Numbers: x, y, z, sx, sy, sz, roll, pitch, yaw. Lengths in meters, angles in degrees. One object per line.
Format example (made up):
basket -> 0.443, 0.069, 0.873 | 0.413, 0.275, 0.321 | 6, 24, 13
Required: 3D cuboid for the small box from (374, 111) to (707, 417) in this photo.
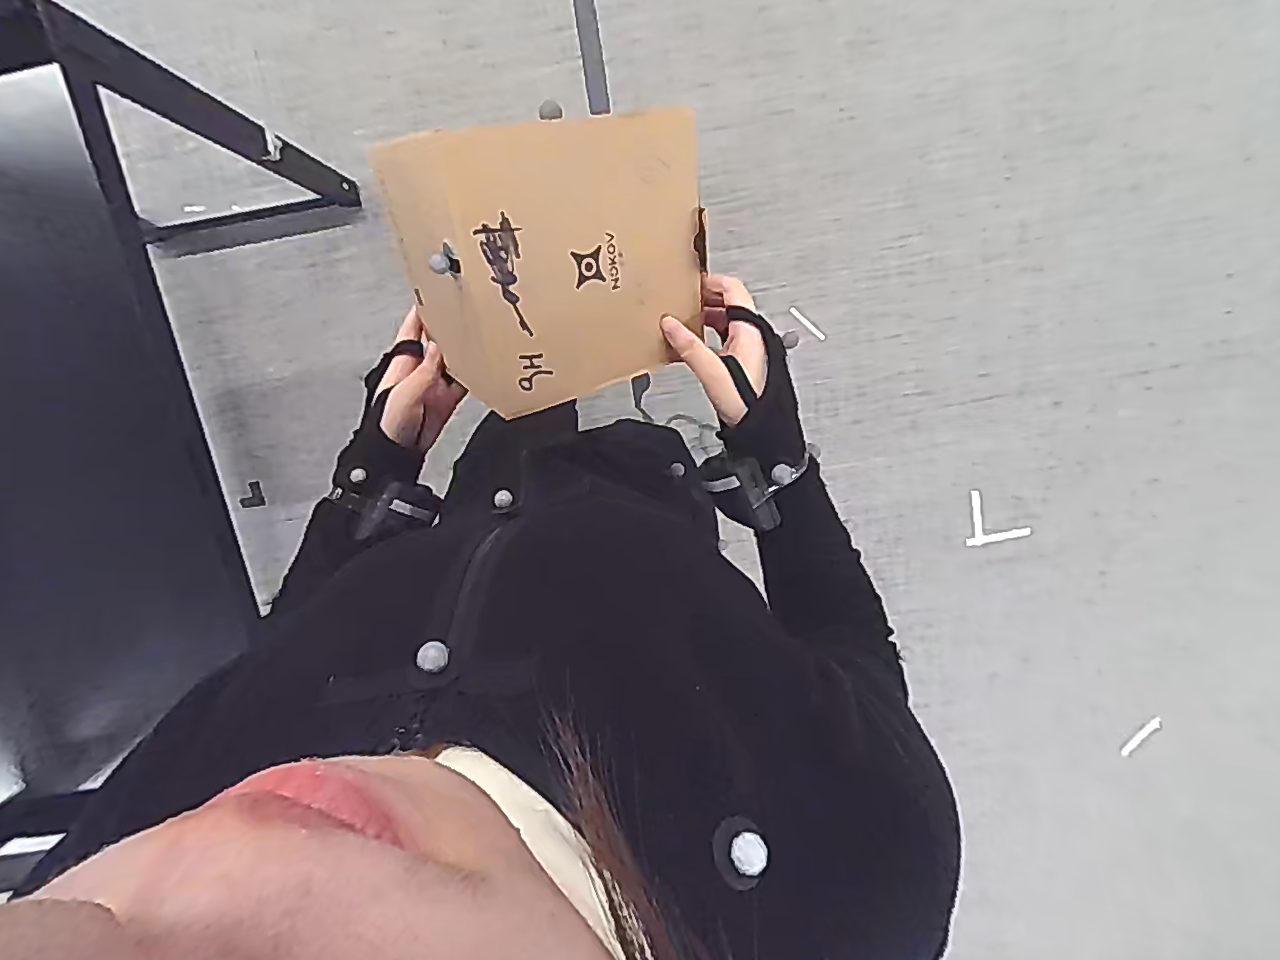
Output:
small box -> -0.070, -0.170, 0.405 | 0.179, 0.176, 0.168 | -24, 125, -27
